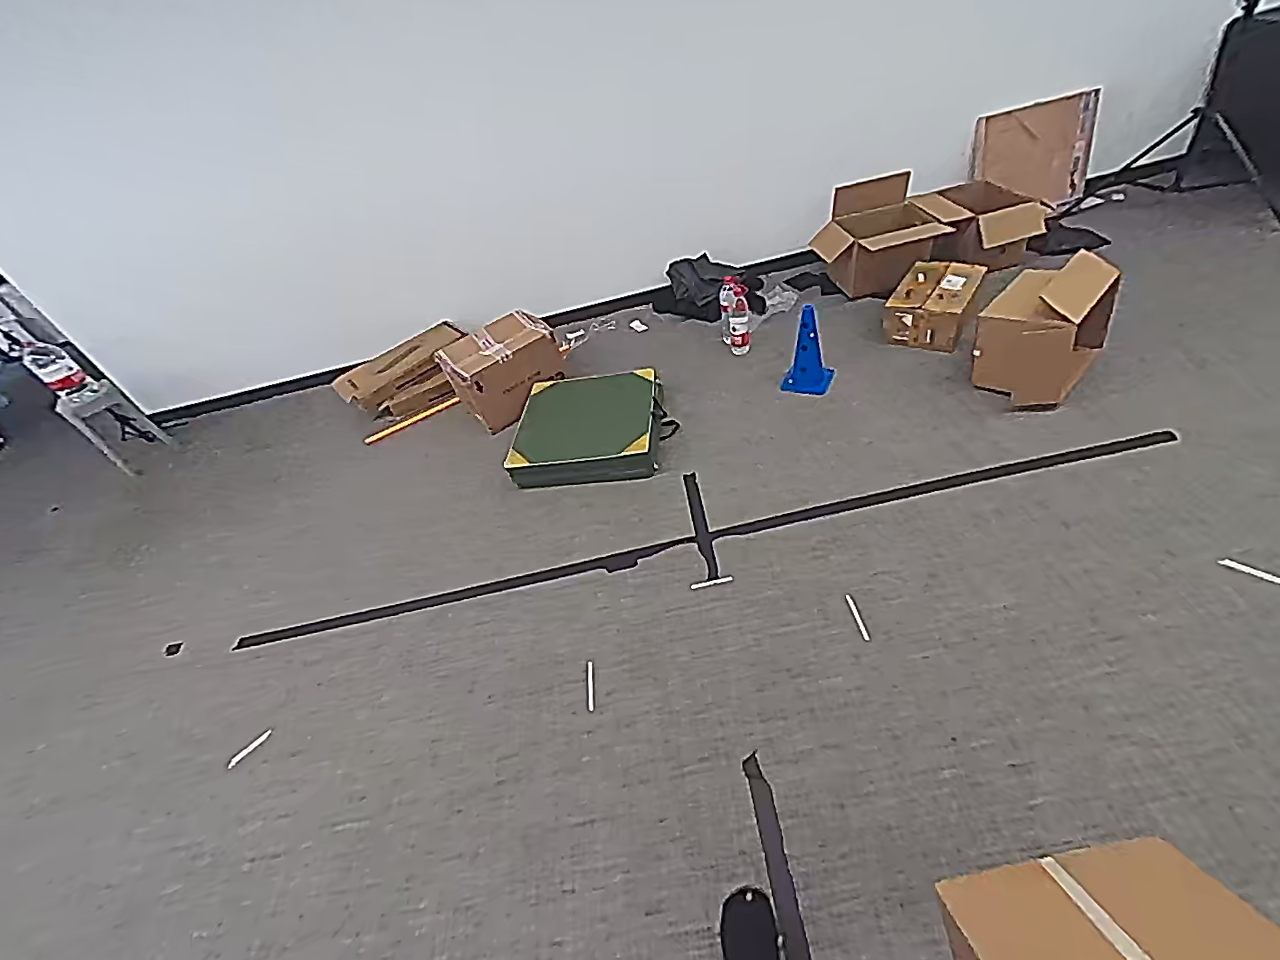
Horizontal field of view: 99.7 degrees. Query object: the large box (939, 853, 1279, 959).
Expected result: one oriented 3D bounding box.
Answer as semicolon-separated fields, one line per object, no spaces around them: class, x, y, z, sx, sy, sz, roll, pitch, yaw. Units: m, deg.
large box;0.587;0.694;0.552;0.320;0.320;0.408;-15;2;3
